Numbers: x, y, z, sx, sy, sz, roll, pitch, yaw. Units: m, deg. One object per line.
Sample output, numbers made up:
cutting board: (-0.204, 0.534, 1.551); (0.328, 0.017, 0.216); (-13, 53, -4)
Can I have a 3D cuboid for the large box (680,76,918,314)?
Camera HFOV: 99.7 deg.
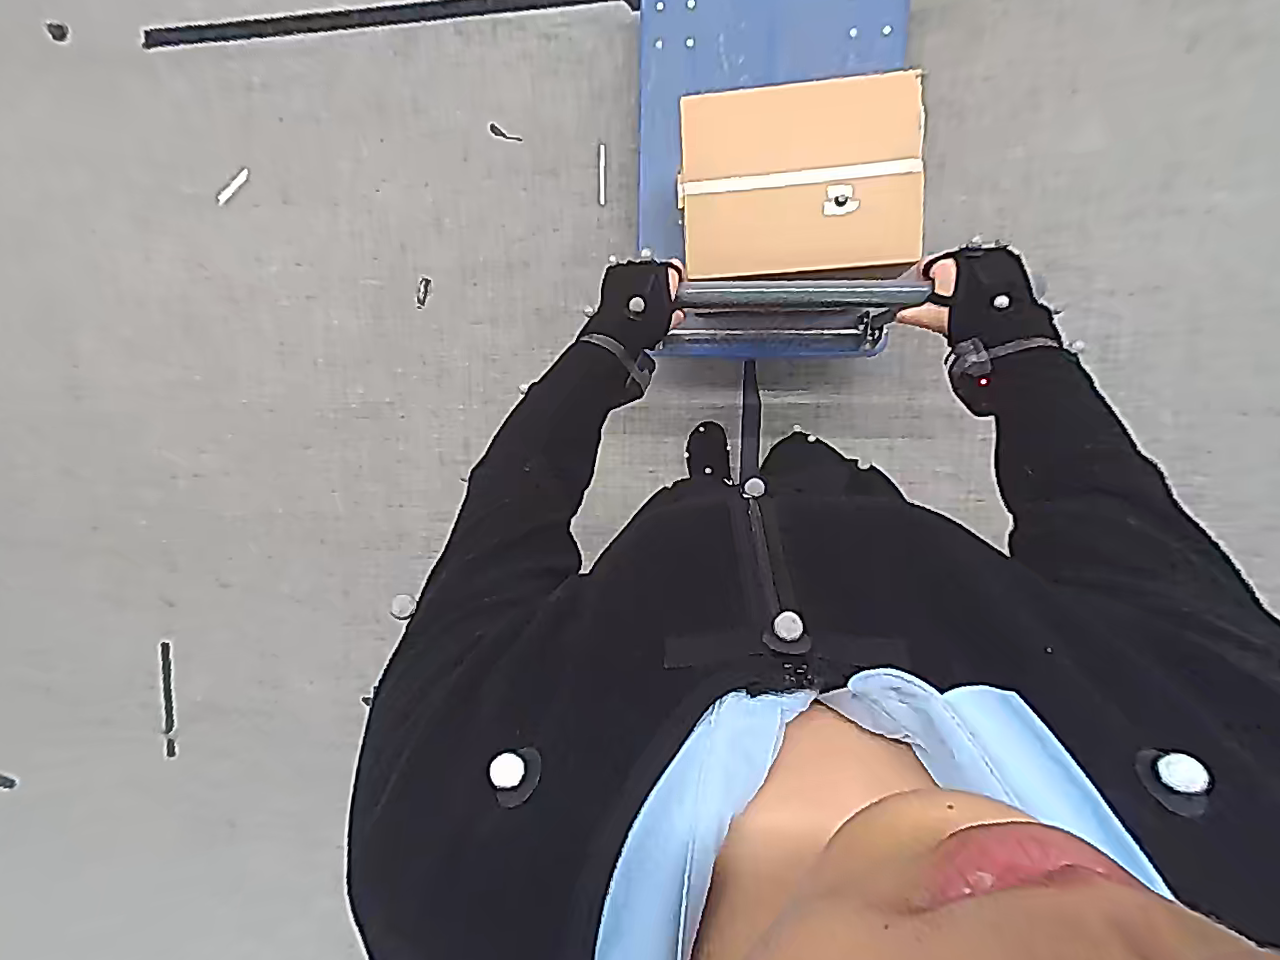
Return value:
large box: (0.292, -0.538, 1.098); (0.408, 0.320, 0.320); (-2, 96, 6)
